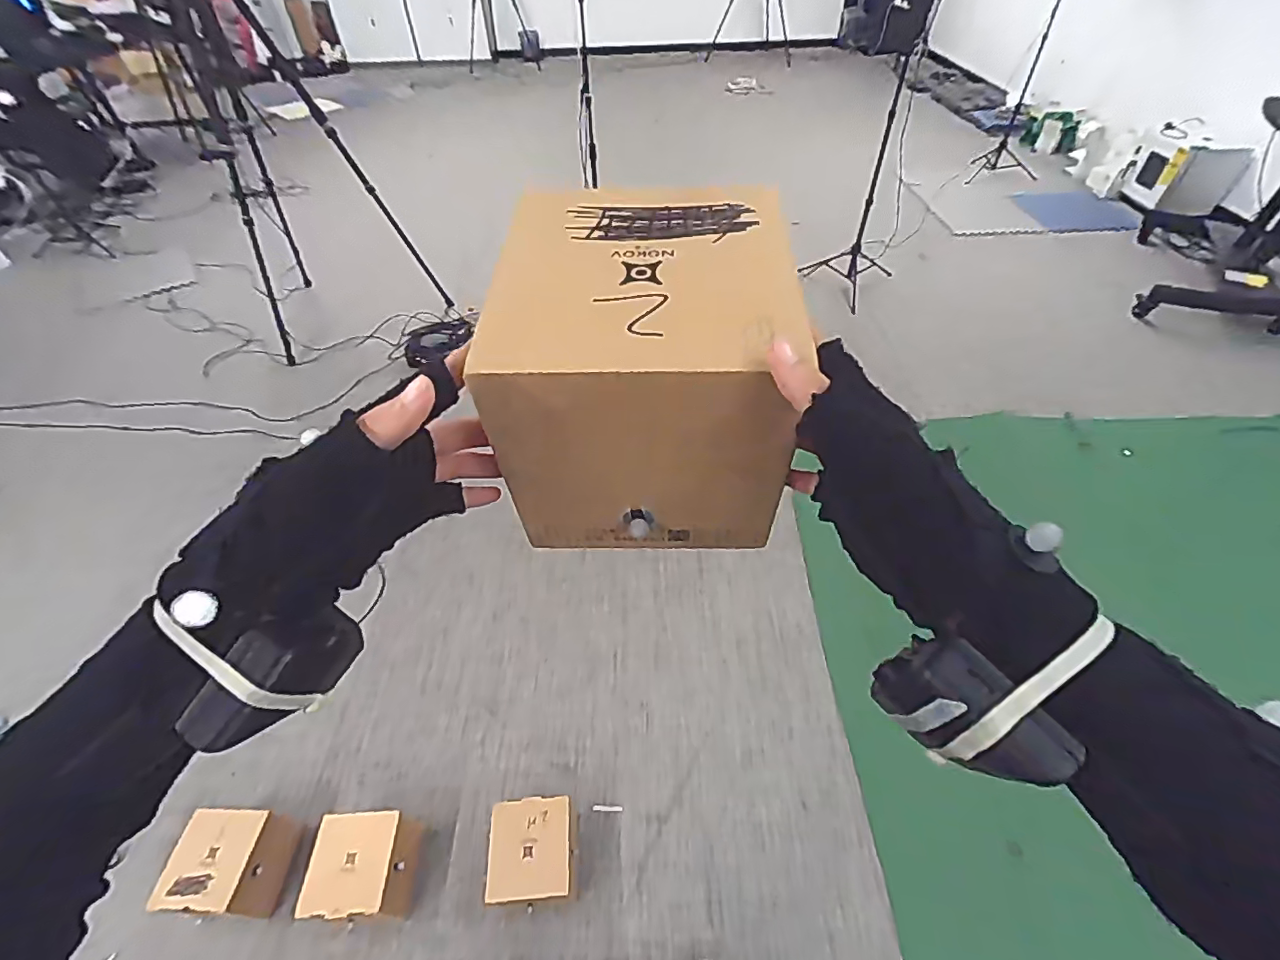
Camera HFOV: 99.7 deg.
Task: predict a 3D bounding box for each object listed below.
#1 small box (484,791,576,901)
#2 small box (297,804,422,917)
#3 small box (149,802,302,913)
[{"bbox_3d":[-0.228,0.797,1.172,0.168,0.176,0.179,-4,48,-3],"label":"small box"},{"bbox_3d":[-0.588,0.820,1.164,0.168,0.176,0.179,-3,49,-1],"label":"small box"},{"bbox_3d":[-0.878,0.819,1.171,0.168,0.176,0.179,1,47,2],"label":"small box"}]
